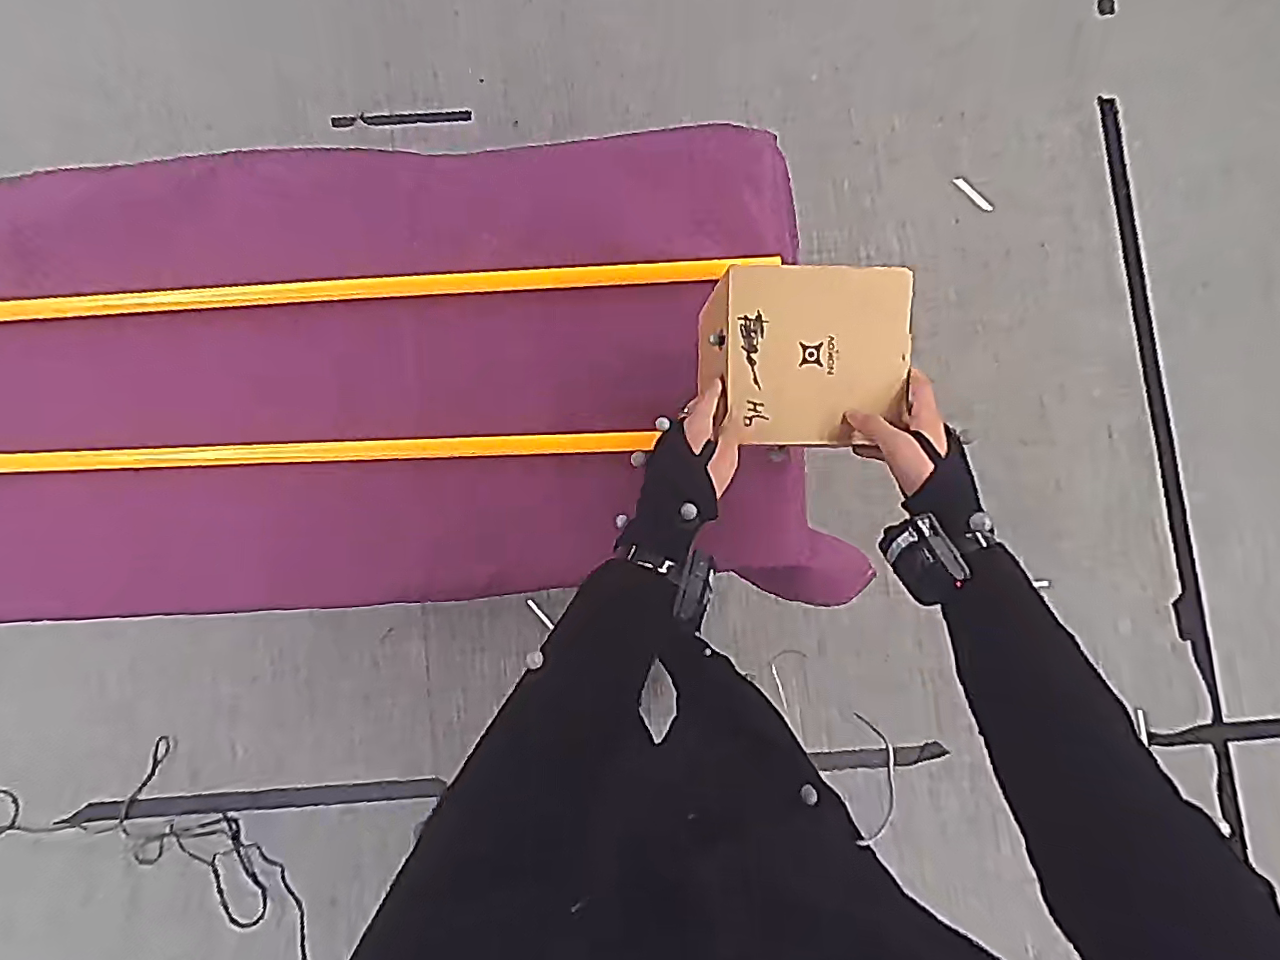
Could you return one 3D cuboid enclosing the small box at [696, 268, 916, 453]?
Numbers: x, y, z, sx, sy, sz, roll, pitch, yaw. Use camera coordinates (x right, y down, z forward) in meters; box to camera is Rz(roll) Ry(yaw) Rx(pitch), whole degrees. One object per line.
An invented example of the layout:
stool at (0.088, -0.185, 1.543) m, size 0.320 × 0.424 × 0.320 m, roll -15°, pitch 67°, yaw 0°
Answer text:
small box at (0.162, -0.113, 0.577) m, size 0.179 × 0.176 × 0.168 m, roll 0°, pitch 93°, yaw -3°
